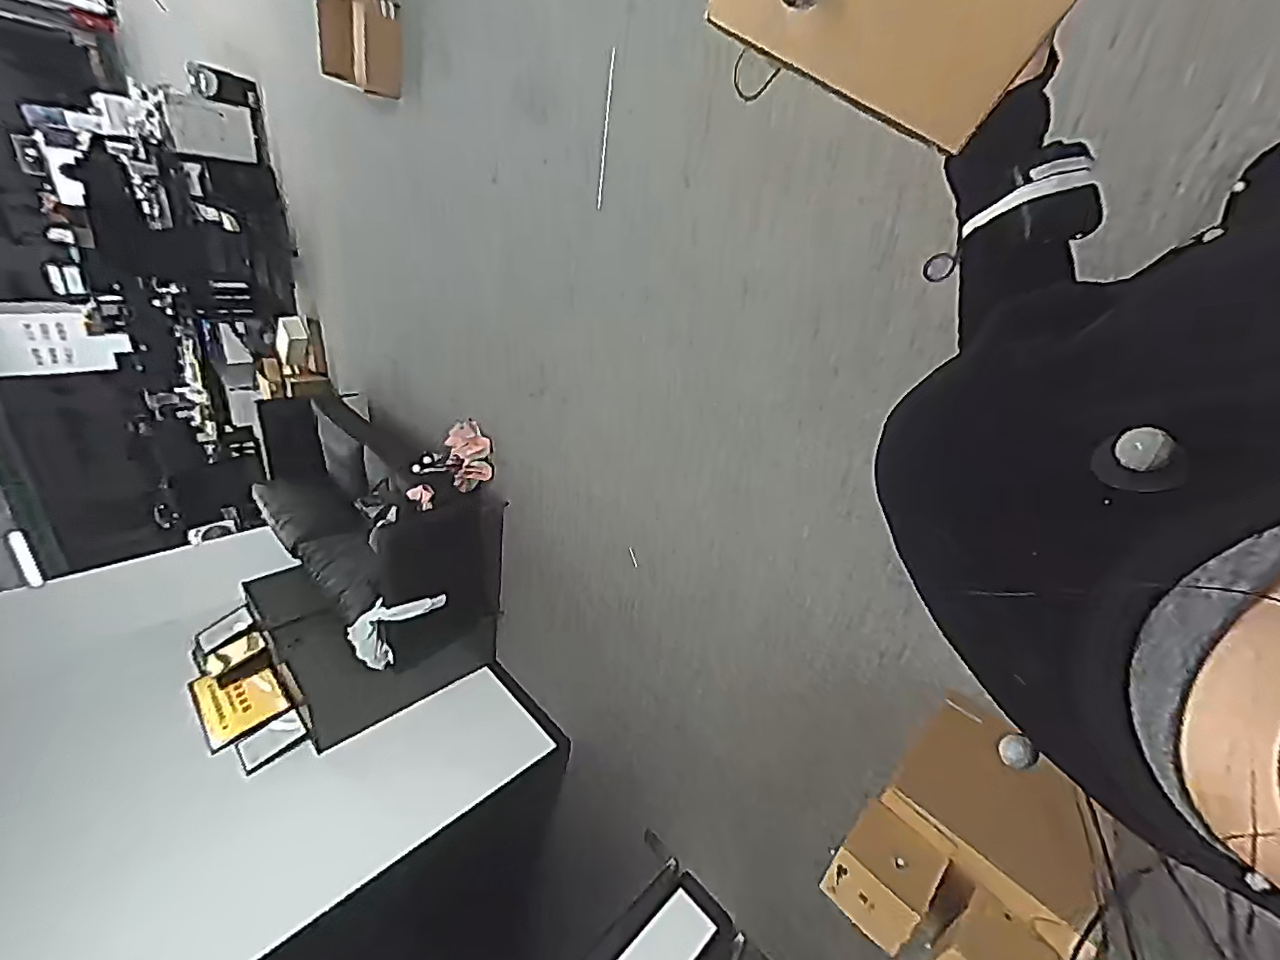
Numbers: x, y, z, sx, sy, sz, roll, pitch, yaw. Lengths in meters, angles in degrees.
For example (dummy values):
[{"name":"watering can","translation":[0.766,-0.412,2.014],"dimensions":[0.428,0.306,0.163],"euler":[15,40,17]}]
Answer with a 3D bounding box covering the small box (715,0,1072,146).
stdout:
[{"name":"small box","translation":[0.171,-0.339,0.293],"dimensions":[0.179,0.168,0.176],"euler":[29,154,1]}]
